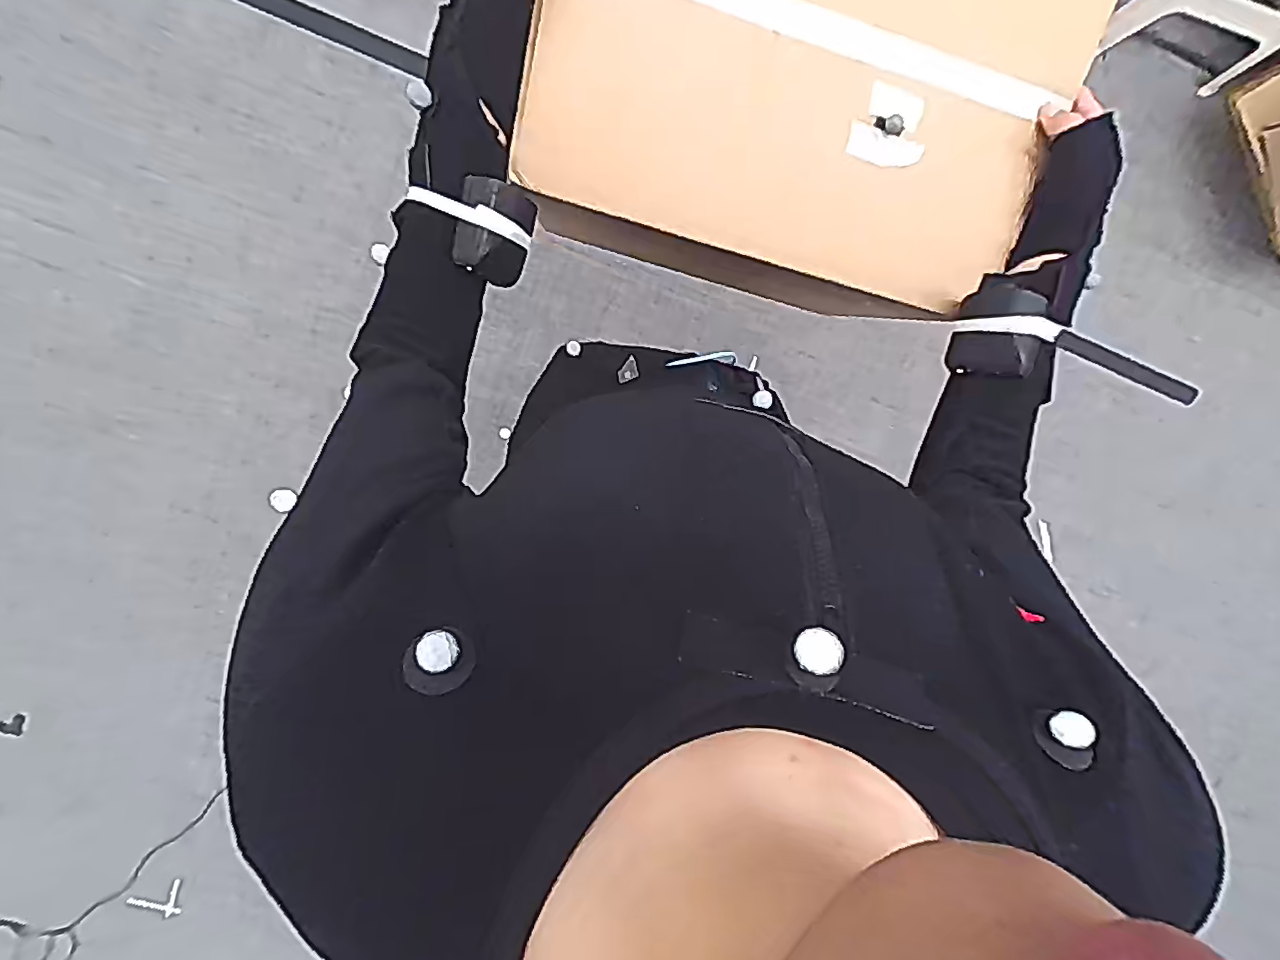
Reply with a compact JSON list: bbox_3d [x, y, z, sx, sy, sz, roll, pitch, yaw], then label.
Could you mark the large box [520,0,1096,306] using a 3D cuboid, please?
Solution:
[{"bbox_3d":[0.117,-0.378,0.539,0.408,0.320,0.320,12,108,-10],"label":"large box"}]
